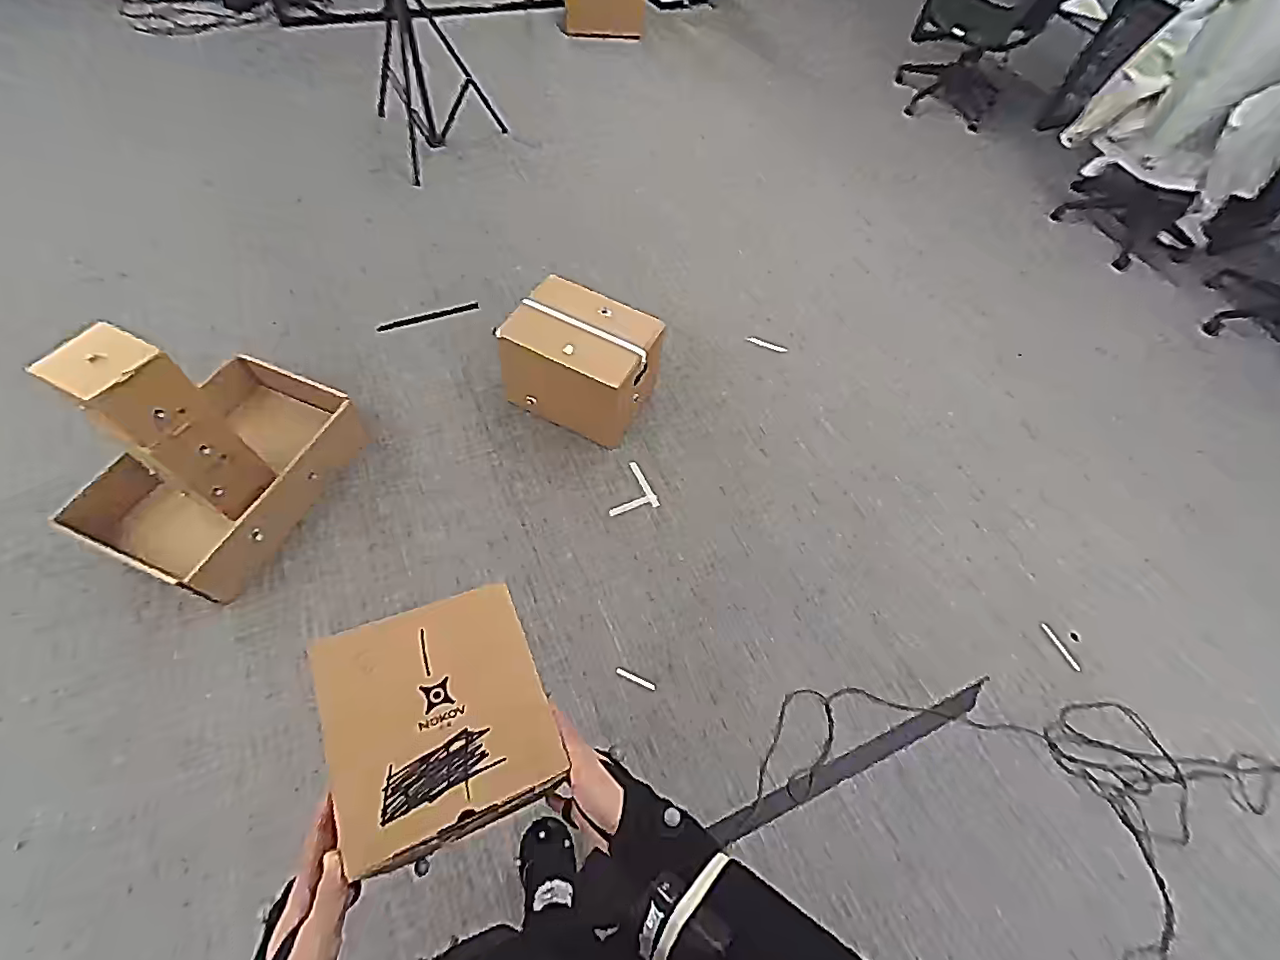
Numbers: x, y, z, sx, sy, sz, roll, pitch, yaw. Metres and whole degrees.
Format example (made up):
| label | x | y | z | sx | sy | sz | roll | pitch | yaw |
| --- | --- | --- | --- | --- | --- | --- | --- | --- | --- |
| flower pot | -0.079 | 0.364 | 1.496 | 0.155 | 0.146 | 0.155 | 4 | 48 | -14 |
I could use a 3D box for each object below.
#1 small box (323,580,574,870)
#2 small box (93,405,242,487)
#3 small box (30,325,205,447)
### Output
| label | x | y | z | sx | sy | sz | roll | pitch | yaw |
| --- | --- | --- | --- | --- | --- | --- | --- | --- | --- |
| small box | -0.171 | 0.223 | 0.501 | 0.168 | 0.176 | 0.179 | -14 | 60 | -23 |
| small box | -1.127 | -0.105 | 1.309 | 0.179 | 0.176 | 0.168 | 25 | 59 | 9 |
| small box | -1.118 | -0.198 | 1.174 | 0.179 | 0.176 | 0.168 | 24 | 59 | 9 |
